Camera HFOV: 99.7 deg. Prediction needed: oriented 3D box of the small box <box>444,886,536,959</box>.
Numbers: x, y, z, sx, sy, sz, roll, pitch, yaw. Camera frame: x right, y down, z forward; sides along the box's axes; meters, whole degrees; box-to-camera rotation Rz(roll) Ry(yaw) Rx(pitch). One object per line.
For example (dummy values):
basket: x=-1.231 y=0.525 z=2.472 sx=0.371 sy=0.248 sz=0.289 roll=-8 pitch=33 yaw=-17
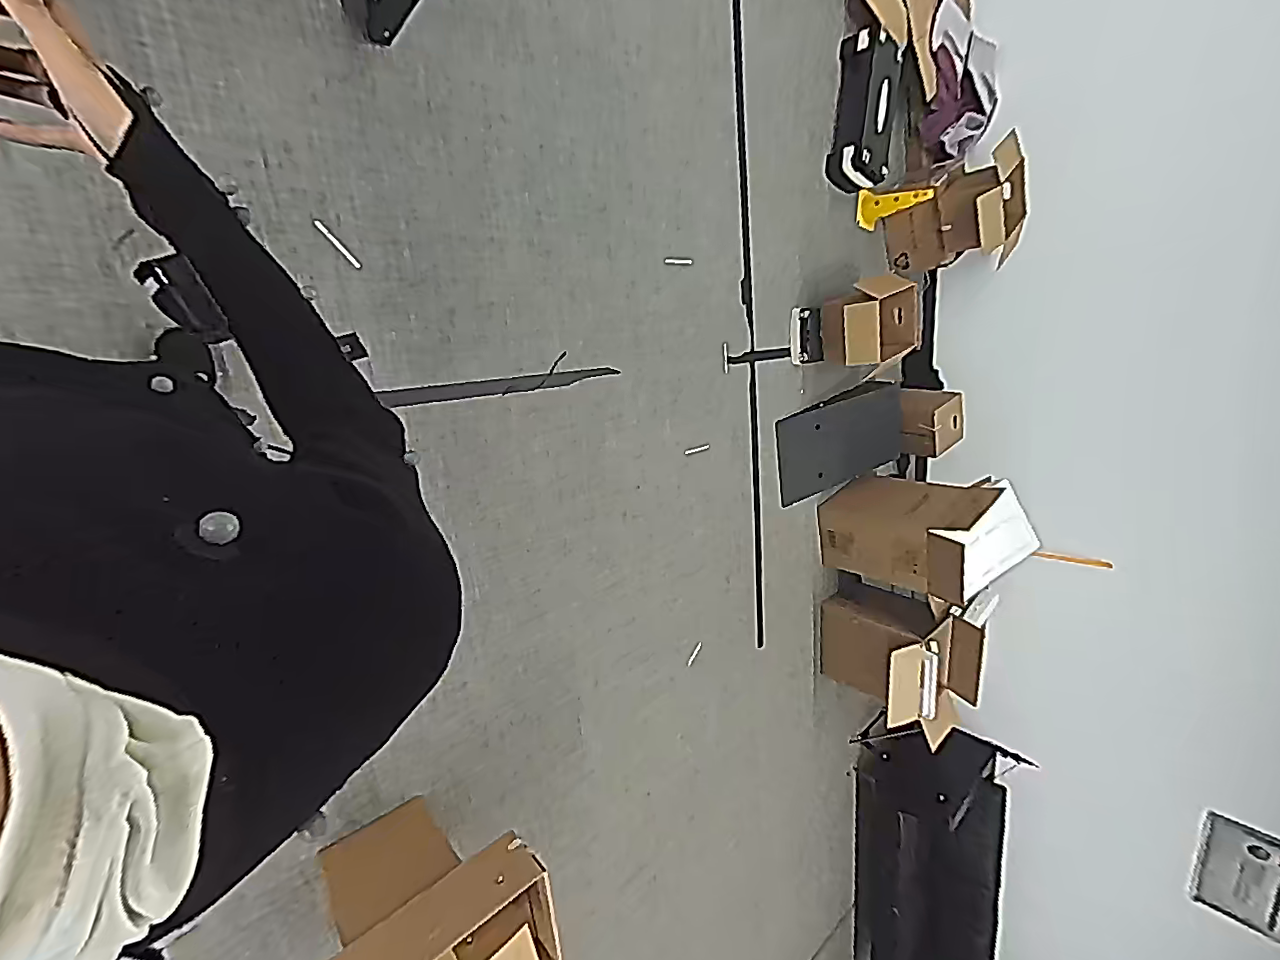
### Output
small box: x=-0.410 y=1.271 z=1.465 sx=0.179 sy=0.176 sz=0.168 roll=-24 pitch=114 yaw=-38
